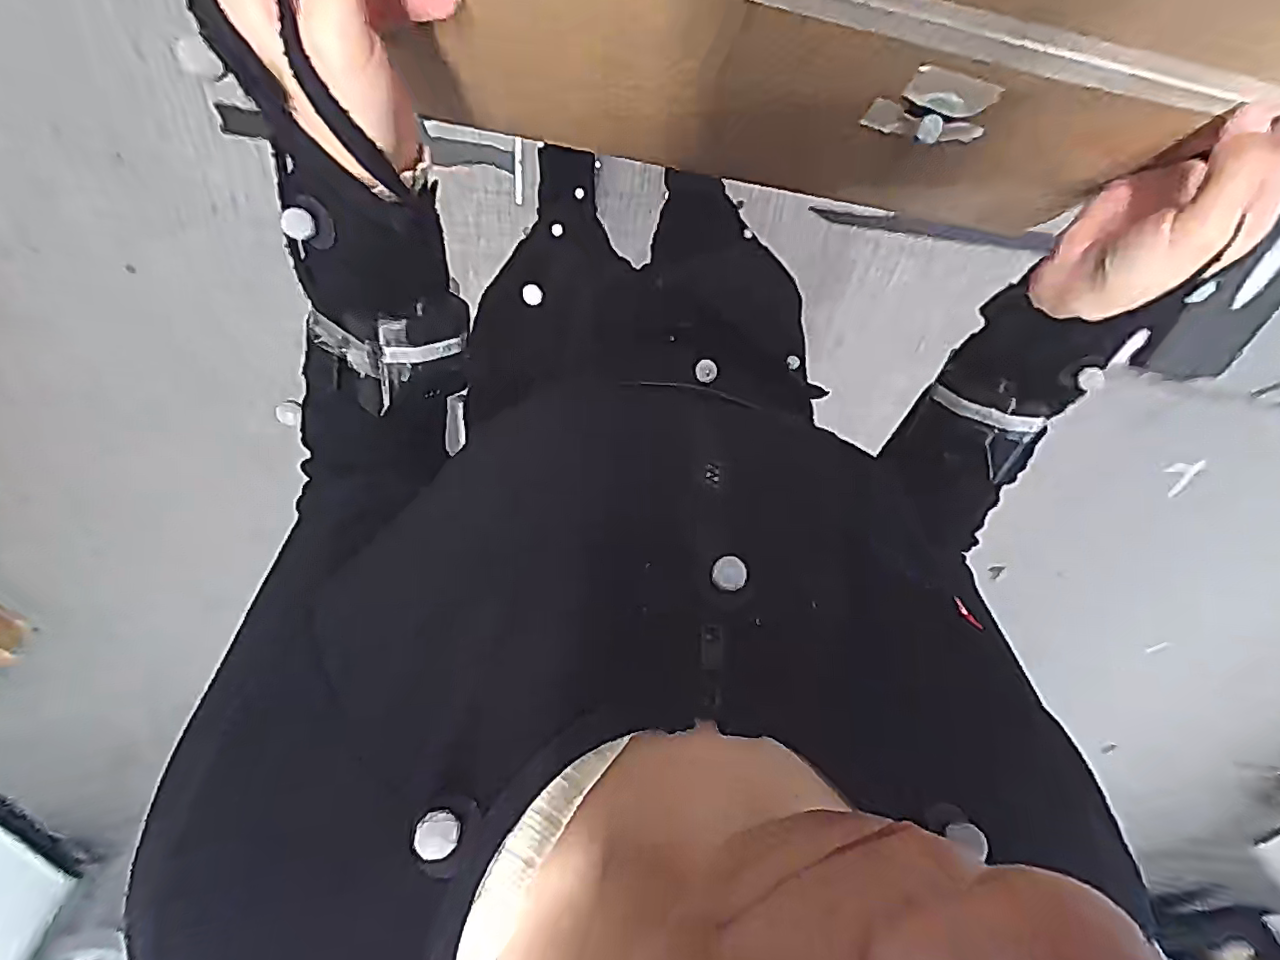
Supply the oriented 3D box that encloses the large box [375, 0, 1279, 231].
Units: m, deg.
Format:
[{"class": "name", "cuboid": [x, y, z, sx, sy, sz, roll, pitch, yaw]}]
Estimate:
[{"class": "large box", "cuboid": [0.100, -0.336, 0.200, 0.408, 0.320, 0.320, 7, 95, -7]}]
